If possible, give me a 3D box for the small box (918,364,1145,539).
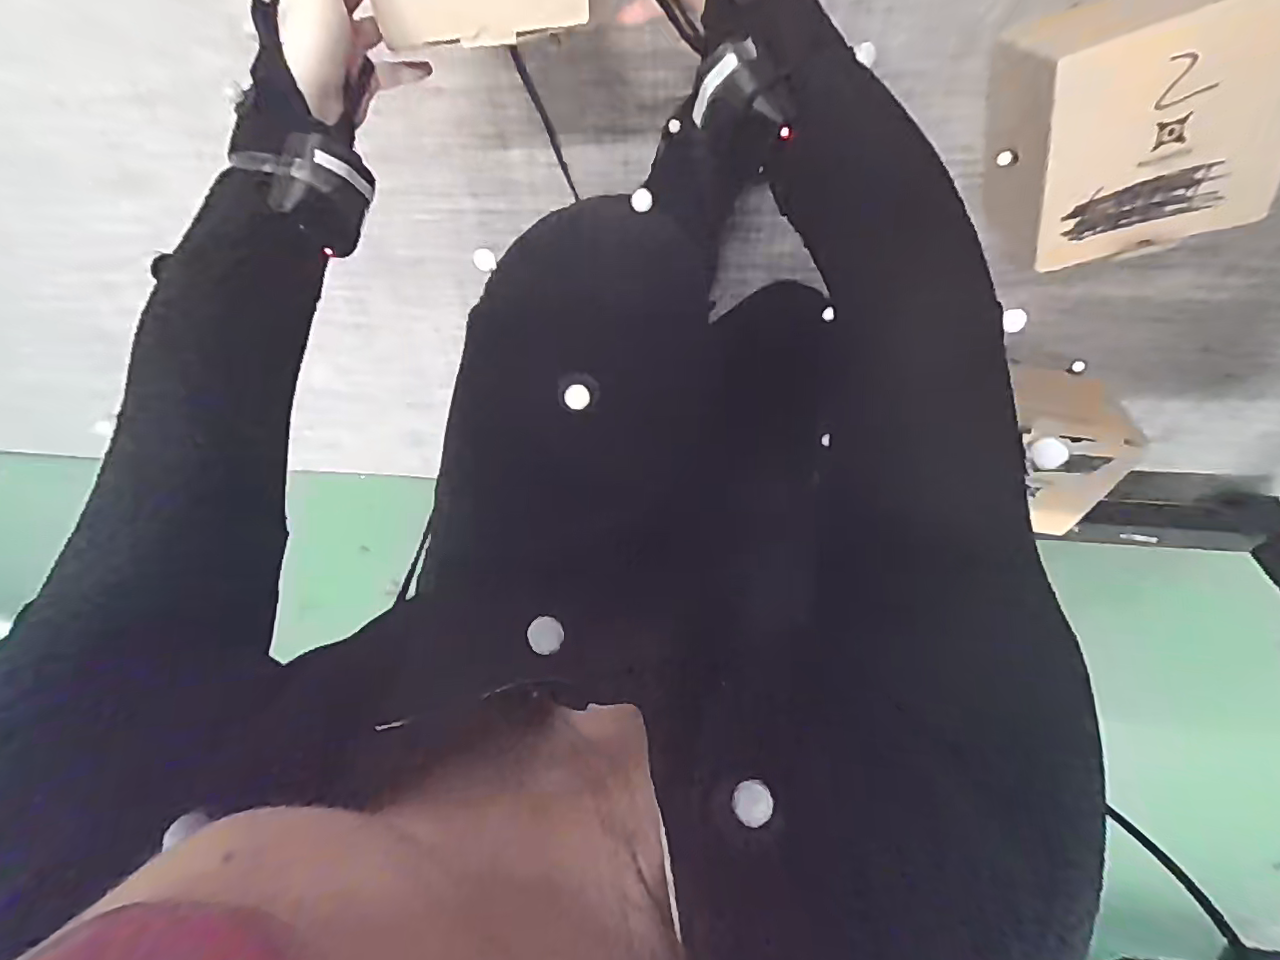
[{"bbox_3d":[0.510,-0.044,0.743,0.168,0.176,0.179,5,130,4],"label":"small box"}]
